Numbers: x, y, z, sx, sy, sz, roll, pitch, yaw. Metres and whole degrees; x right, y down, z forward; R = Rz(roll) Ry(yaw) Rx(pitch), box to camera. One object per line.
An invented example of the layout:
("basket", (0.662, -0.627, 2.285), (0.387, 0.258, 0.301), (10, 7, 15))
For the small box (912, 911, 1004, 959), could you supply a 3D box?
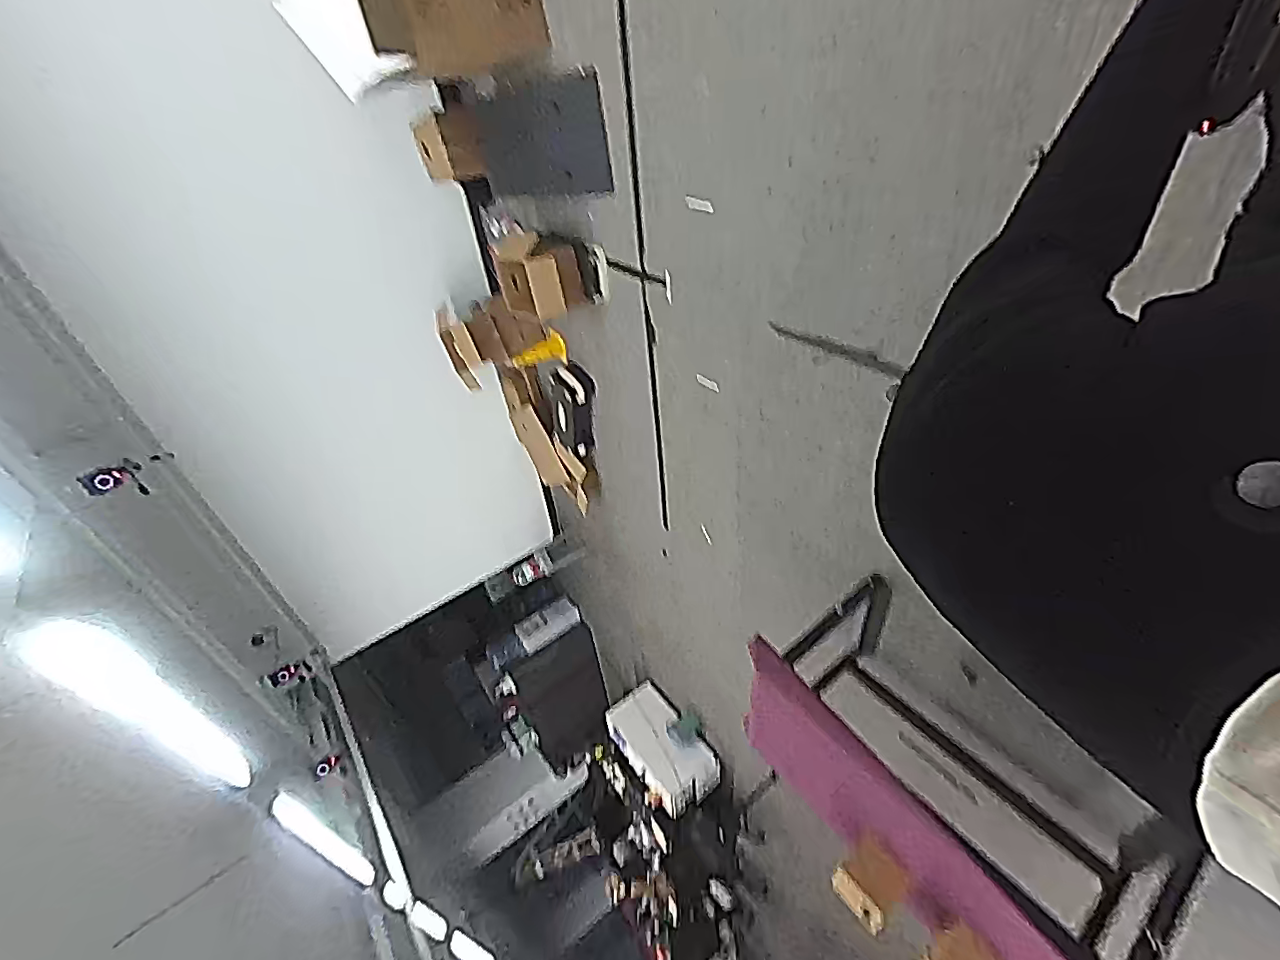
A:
("small box", (0.978, 1.465, 1.651), (0.168, 0.176, 0.179), (42, 149, 34))
